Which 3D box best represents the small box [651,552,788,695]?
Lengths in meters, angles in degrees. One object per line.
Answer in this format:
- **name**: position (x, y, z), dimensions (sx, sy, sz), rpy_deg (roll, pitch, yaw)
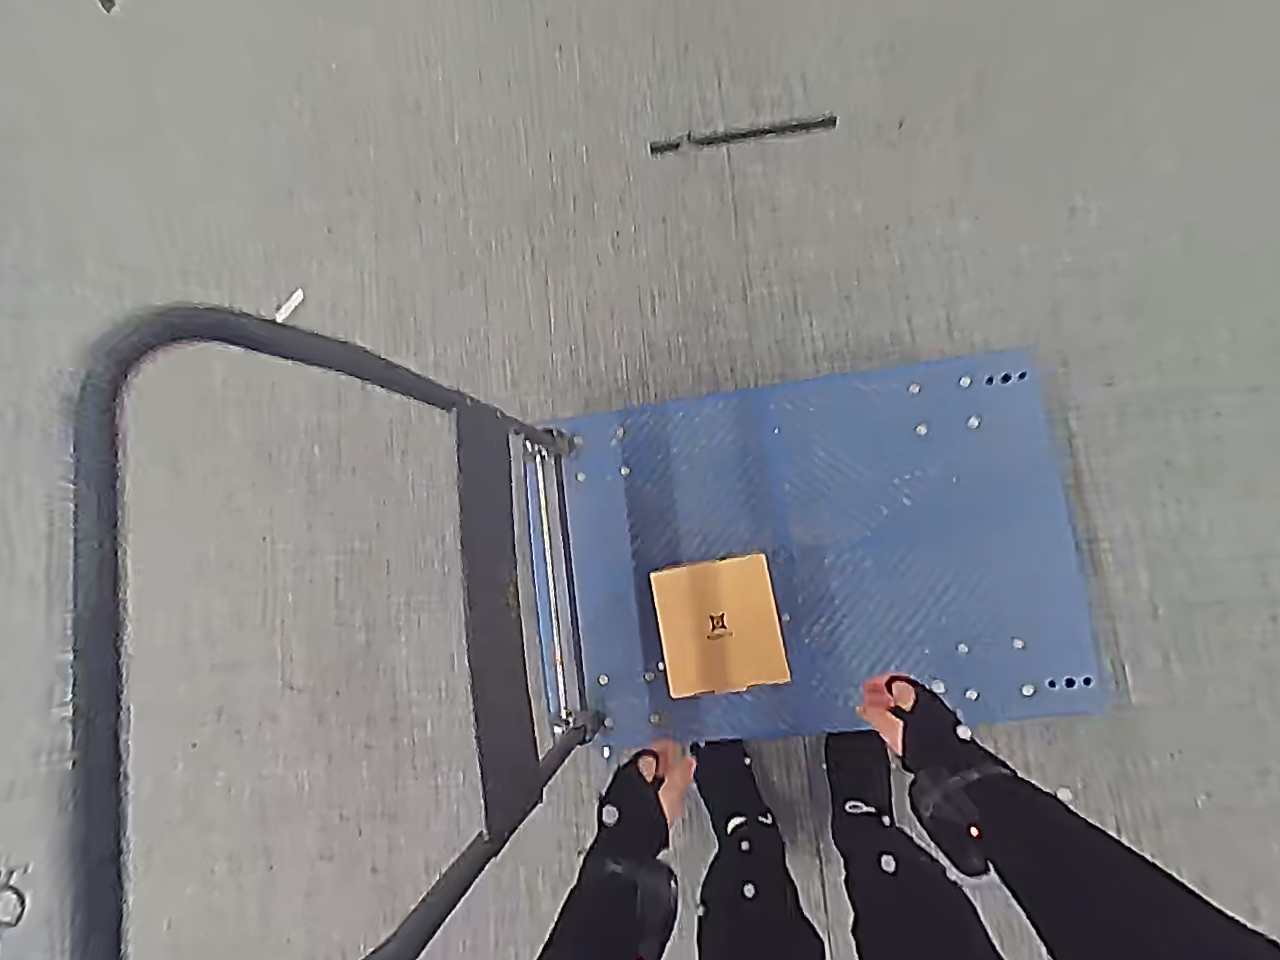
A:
- **small box**: position (0.117, 0.208, 0.827), dimensions (0.168, 0.176, 0.179), rpy_deg (-12, 83, 7)
